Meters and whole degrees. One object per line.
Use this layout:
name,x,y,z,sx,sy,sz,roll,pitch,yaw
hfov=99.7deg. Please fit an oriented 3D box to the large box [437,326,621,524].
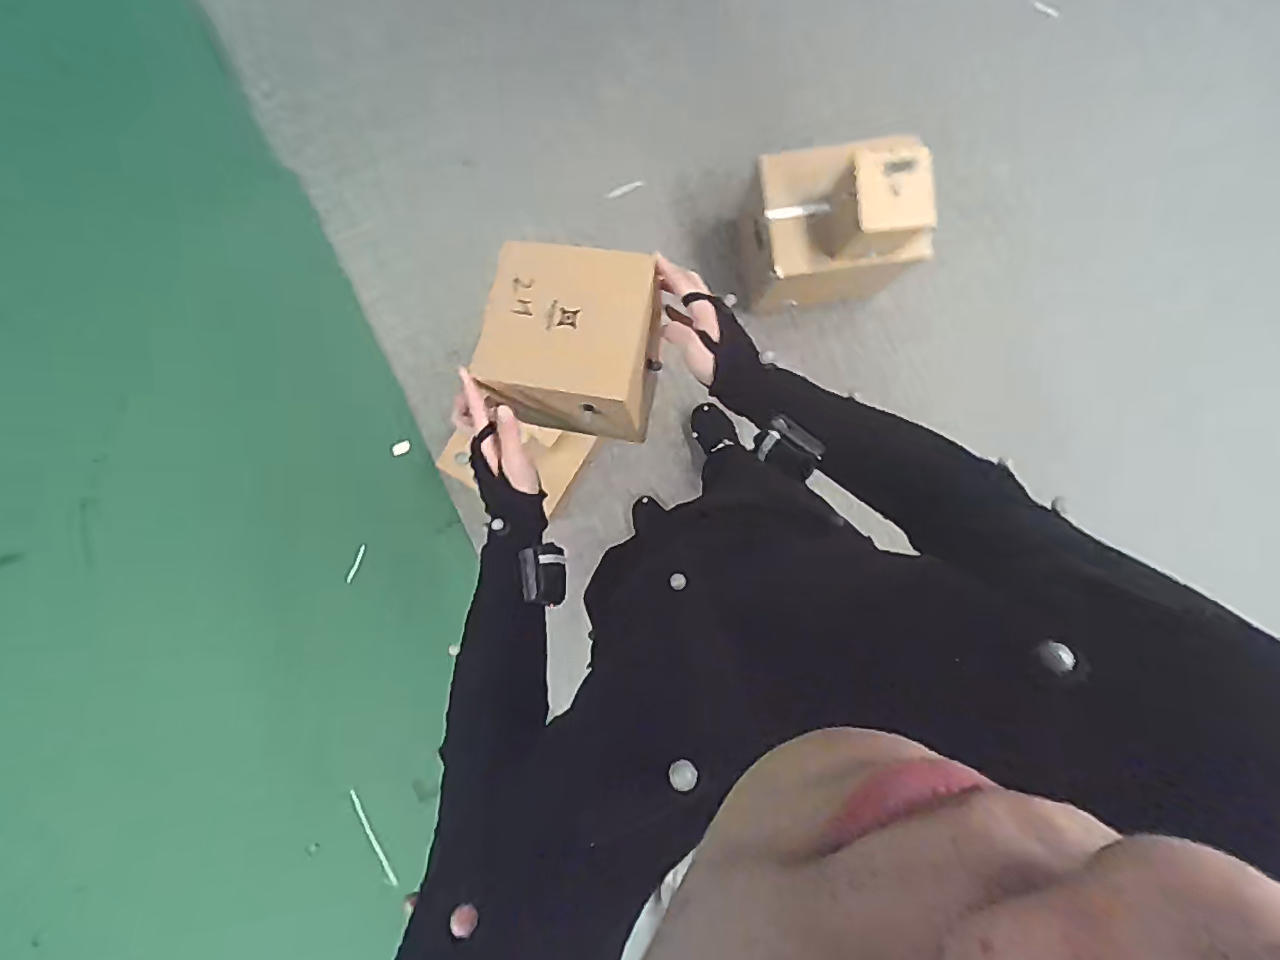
large box,-0.277,-0.141,1.484,0.320,0.320,0.408,31,91,0

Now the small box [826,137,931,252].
small box,0.542,-0.652,1.250,0.168,0.176,0.179,-6,92,-1
